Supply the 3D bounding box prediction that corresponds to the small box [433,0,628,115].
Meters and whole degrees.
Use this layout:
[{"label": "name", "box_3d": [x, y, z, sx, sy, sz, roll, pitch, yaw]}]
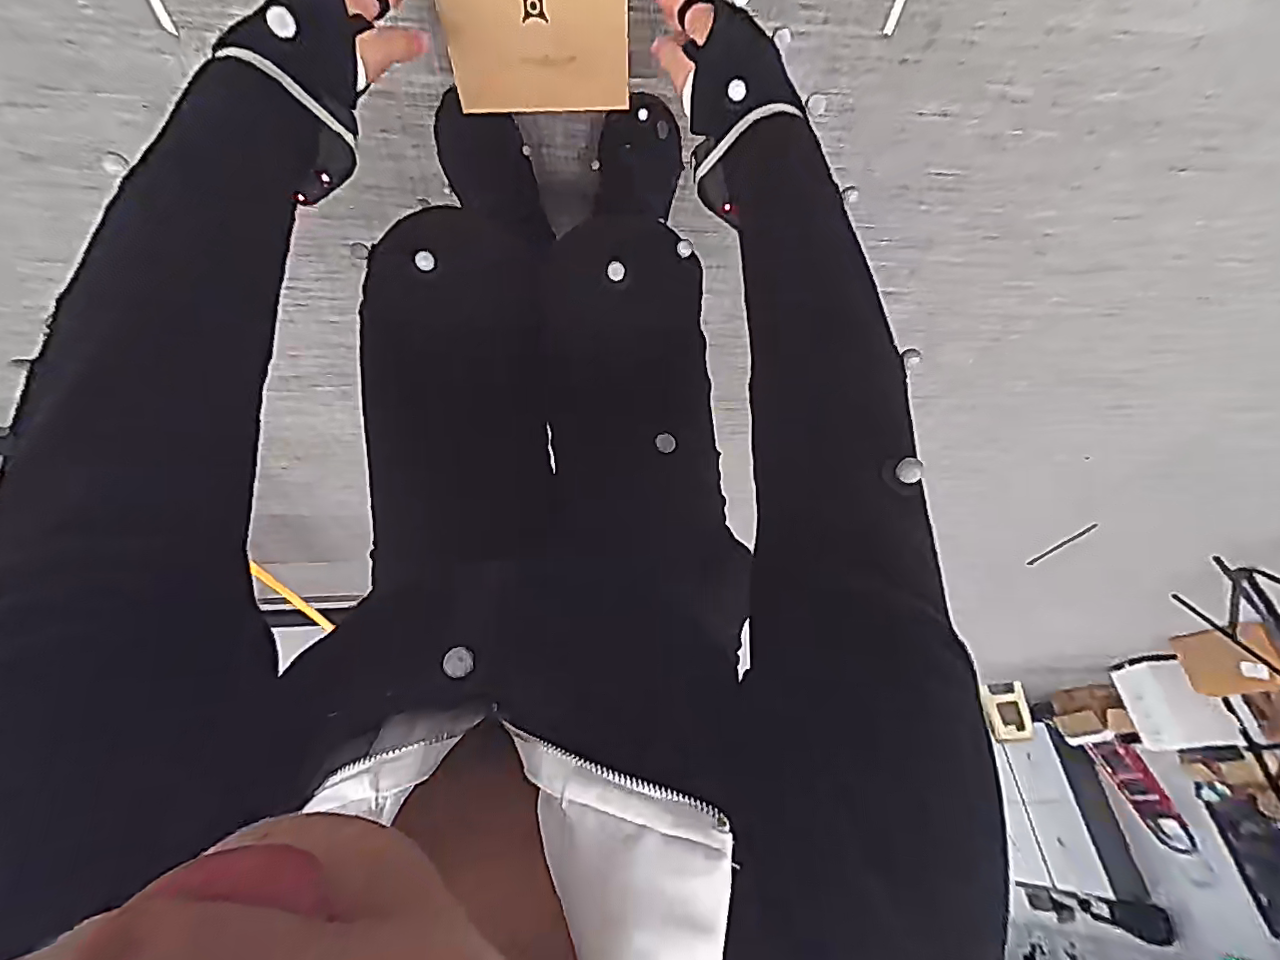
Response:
[{"label": "small box", "box_3d": [-0.097, -0.473, 0.497, 0.168, 0.176, 0.179, -2, 150, -1]}]
